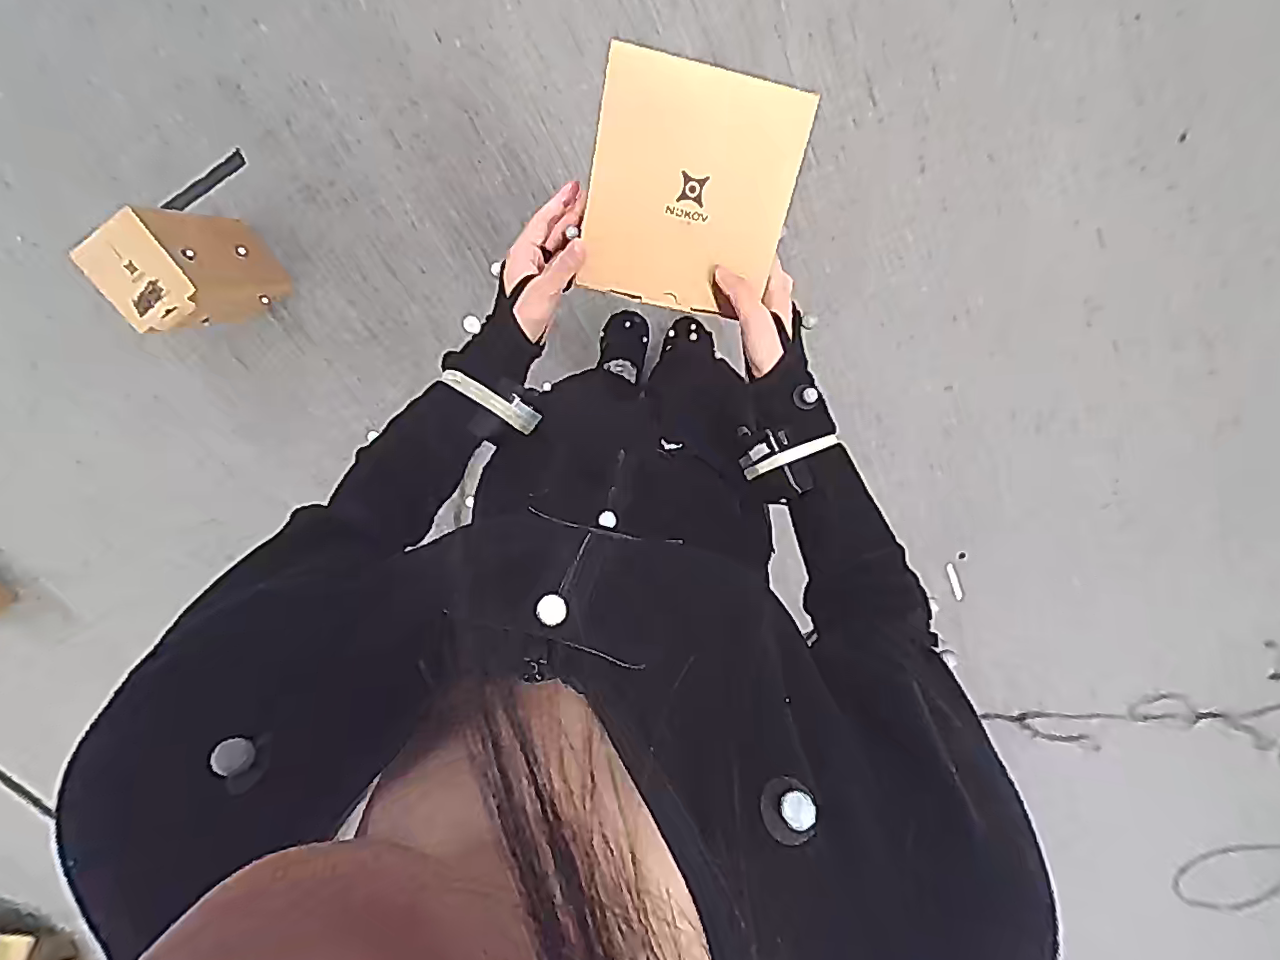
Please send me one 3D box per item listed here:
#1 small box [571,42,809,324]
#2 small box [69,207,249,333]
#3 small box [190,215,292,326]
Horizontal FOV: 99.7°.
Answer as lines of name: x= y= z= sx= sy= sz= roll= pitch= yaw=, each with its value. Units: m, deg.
small box: x=0.029 y=-0.262 z=0.510 sx=0.168 sy=0.176 sz=0.179 roll=8 pitch=114 yaw=-9
small box: x=-0.960 y=-0.425 z=1.100 sx=0.168 sy=0.176 sz=0.179 roll=-29 pitch=109 yaw=10
small box: x=-0.965 y=-0.484 z=1.254 sx=0.168 sy=0.176 sz=0.179 roll=-30 pitch=108 yaw=10
